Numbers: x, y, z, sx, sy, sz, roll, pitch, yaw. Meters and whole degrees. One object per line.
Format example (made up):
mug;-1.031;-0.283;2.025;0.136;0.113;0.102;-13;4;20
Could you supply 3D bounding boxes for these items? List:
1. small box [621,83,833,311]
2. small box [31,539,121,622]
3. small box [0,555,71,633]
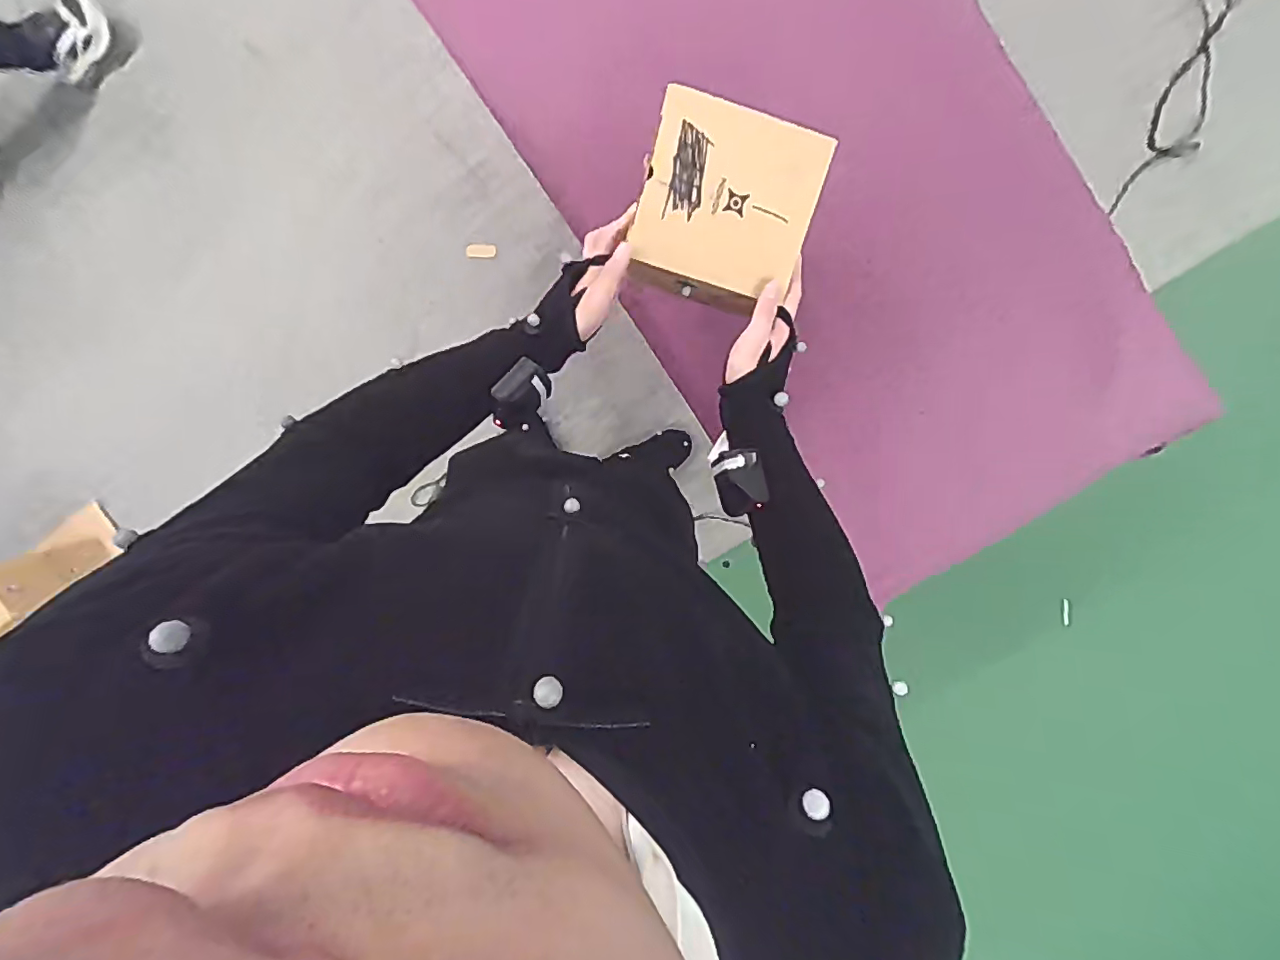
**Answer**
small box;0.083;-0.300;0.618;0.179;0.176;0.168;16;102;-5
small box;-1.837;0.313;1.727;0.168;0.176;0.179;-31;96;8
small box;-1.842;0.336;1.567;0.168;0.176;0.179;-32;97;8
